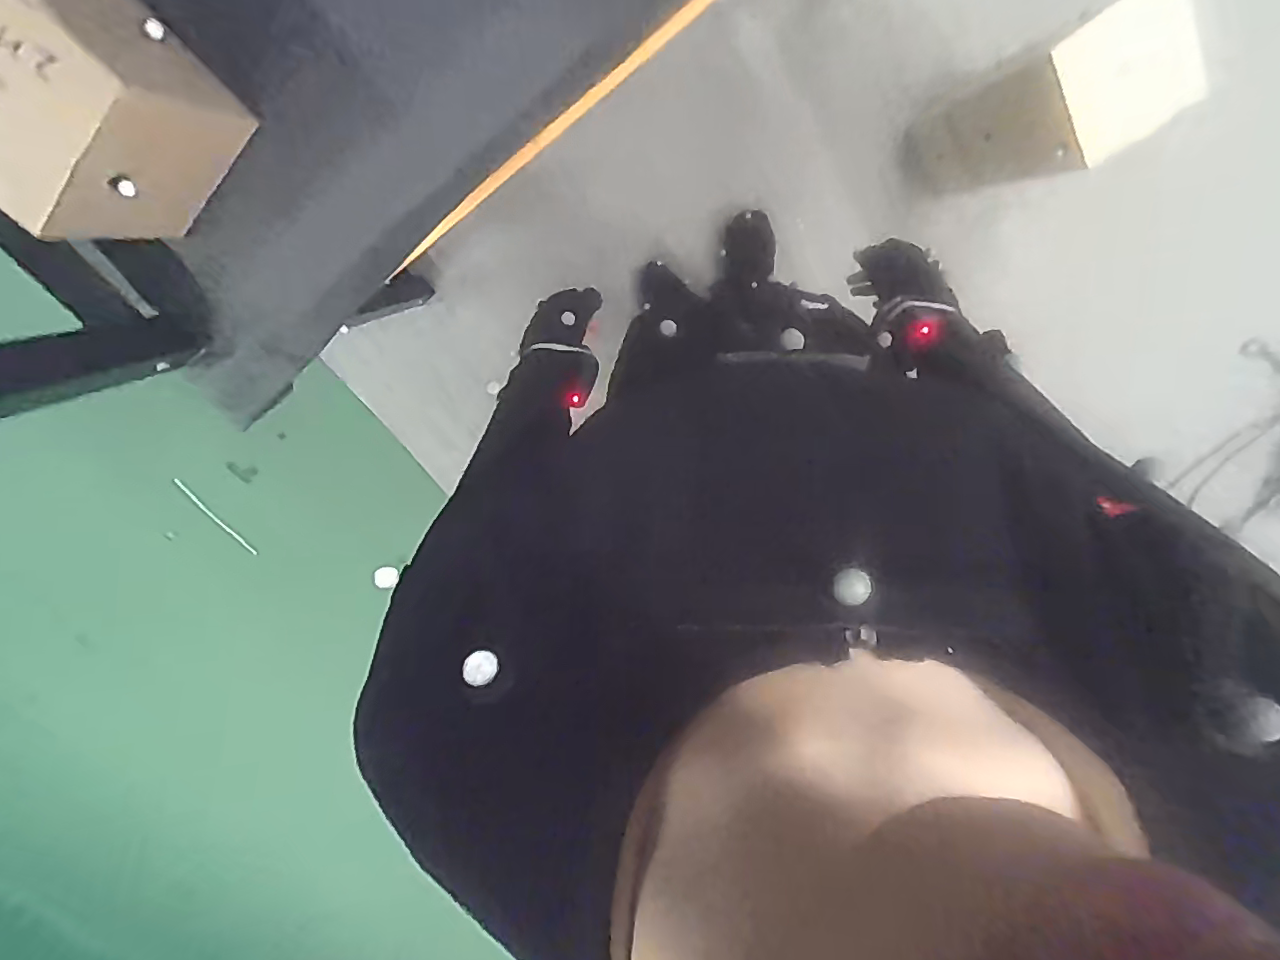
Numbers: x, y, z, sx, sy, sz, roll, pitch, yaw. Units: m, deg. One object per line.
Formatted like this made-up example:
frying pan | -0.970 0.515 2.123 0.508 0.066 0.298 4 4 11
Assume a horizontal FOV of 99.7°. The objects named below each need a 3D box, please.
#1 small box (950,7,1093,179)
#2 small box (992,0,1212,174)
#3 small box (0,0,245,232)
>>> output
small box | 0.692 -0.659 0.952 0.168 0.176 0.179 -34 108 17
small box | 0.670 -0.589 0.806 0.168 0.176 0.179 -32 109 16
small box | -0.537 -0.363 0.519 0.179 0.176 0.168 -38 108 17
